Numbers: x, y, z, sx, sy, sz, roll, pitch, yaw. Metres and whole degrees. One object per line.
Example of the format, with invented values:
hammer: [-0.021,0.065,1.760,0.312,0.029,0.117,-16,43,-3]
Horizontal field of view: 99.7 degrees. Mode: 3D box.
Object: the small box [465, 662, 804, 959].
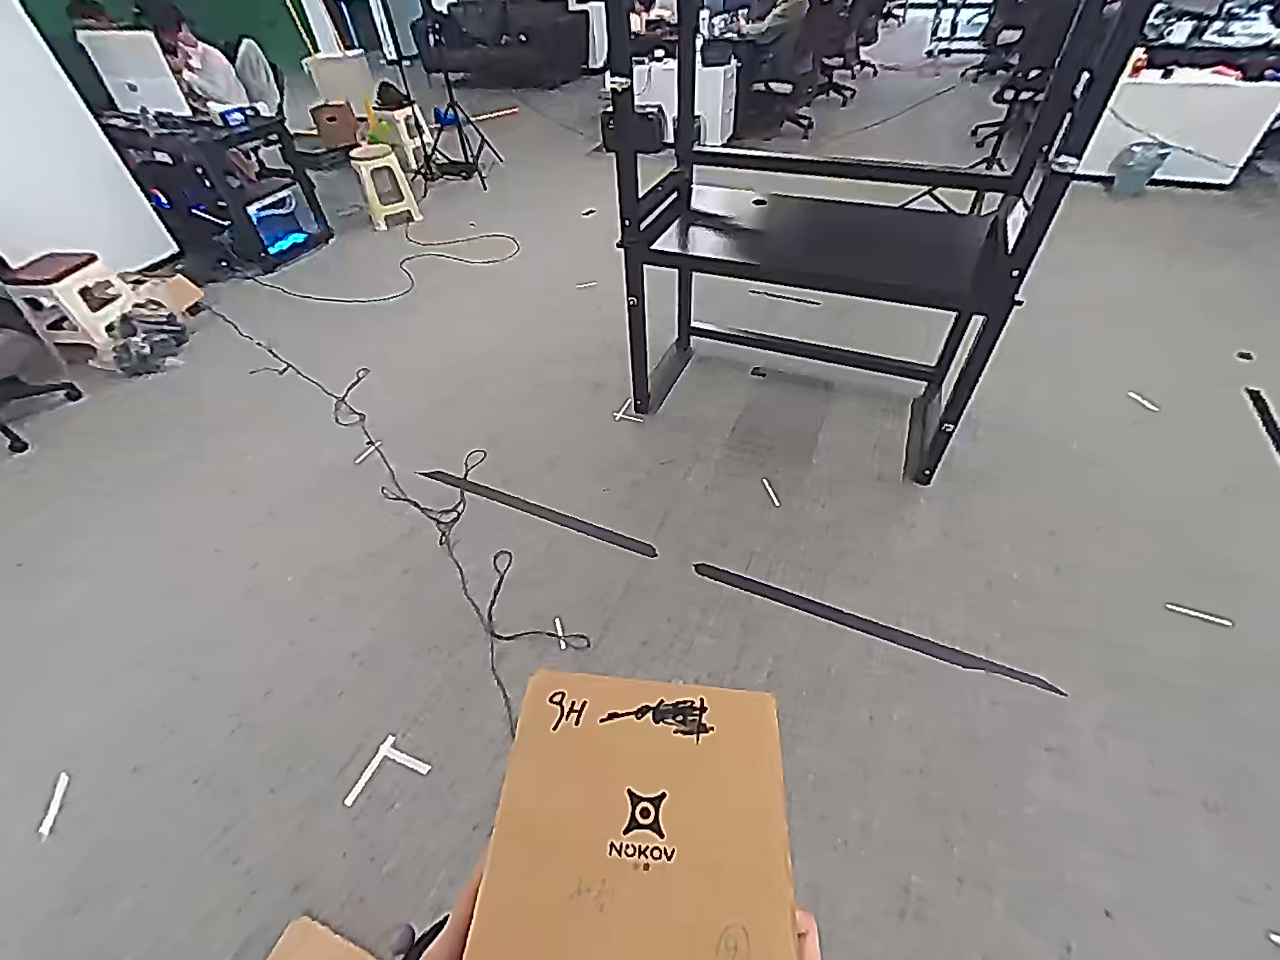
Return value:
small box: [0.000,0.246,0.354,0.168,0.176,0.179,6,45,1]
